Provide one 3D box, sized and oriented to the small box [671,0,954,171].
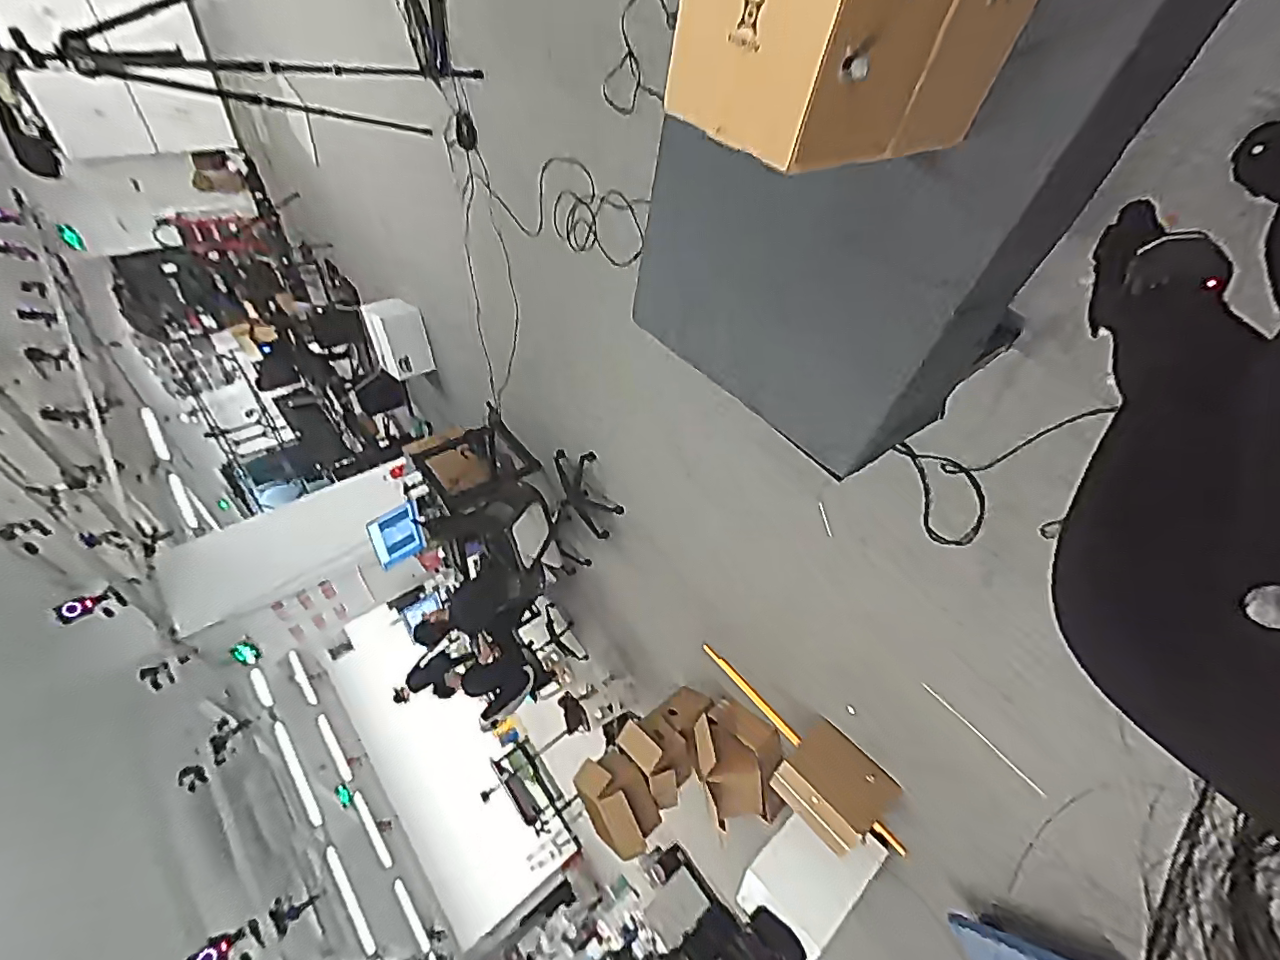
[{"bbox_3d":[0.157,-0.412,0.489,0.168,0.176,0.179,45,146,26],"label":"small box"}]
